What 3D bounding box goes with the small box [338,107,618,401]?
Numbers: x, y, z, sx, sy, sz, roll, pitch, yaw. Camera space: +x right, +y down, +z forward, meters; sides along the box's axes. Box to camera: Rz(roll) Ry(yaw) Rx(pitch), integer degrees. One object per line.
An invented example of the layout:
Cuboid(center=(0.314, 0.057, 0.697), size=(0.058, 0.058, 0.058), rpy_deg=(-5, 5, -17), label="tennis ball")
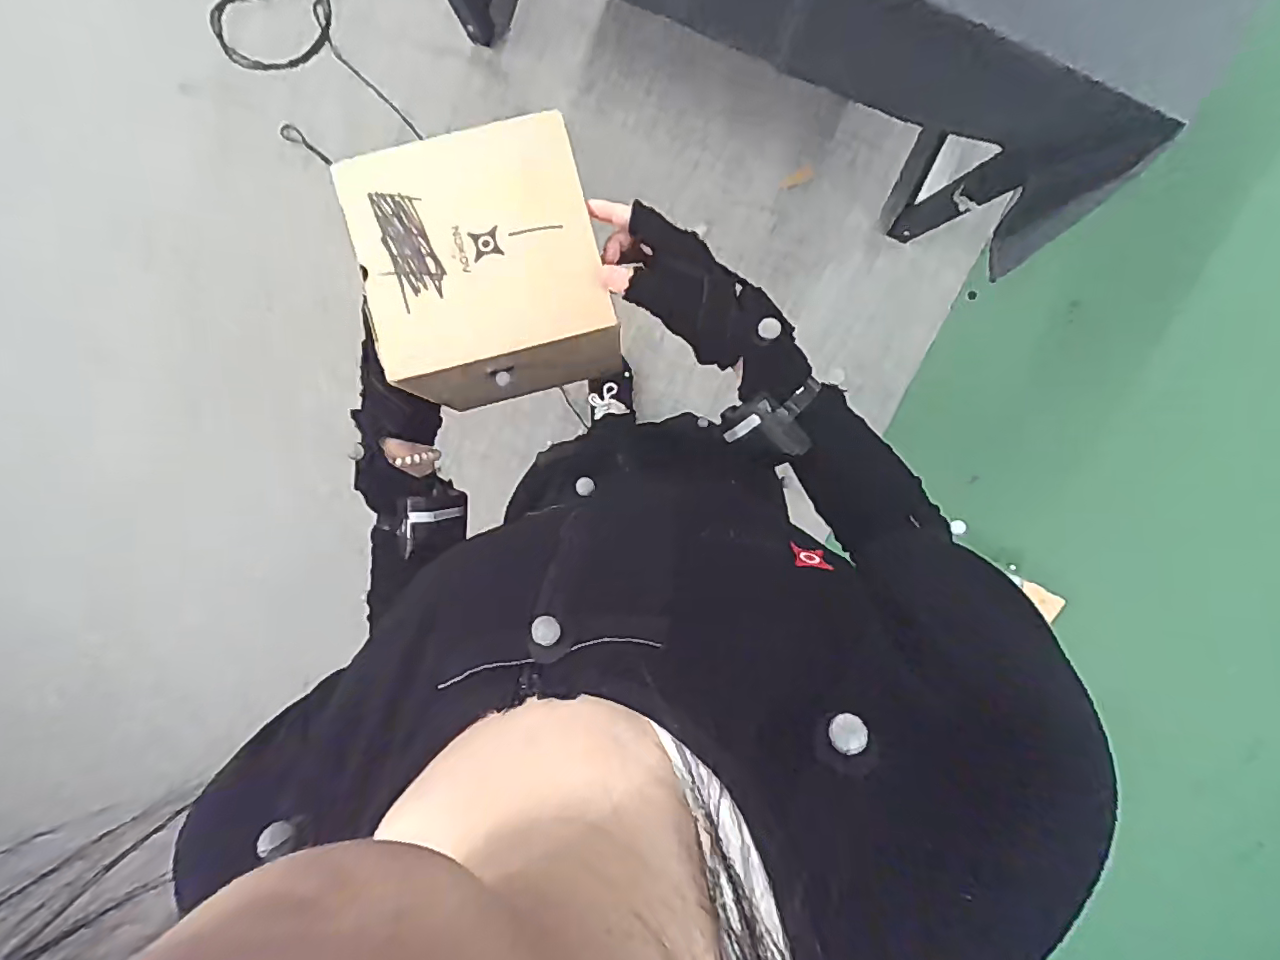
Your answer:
Cuboid(center=(-0.121, -0.175, 0.475), size=(0.179, 0.176, 0.168), rpy_deg=(-14, 90, -2), label="small box")
